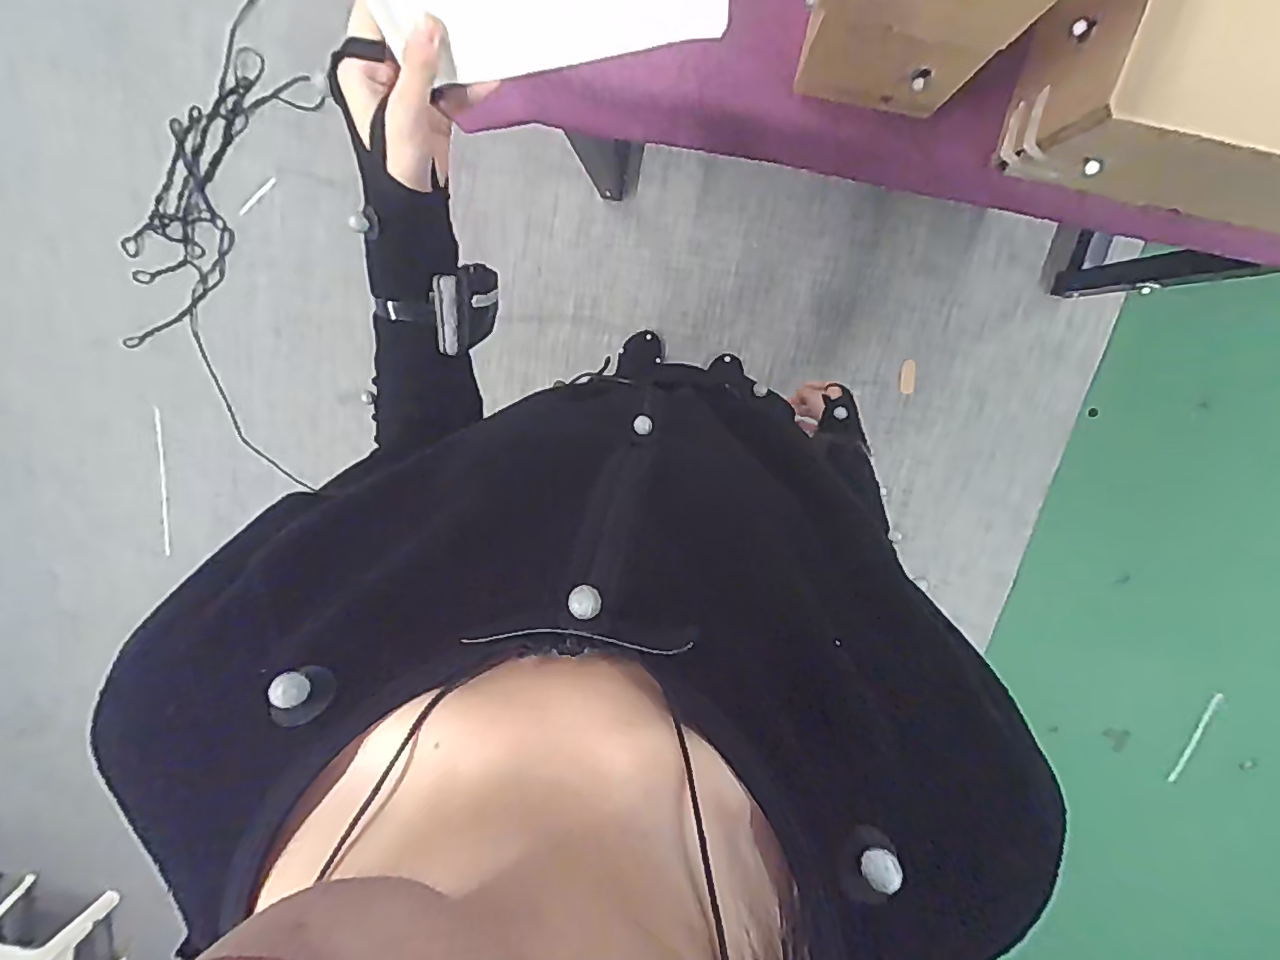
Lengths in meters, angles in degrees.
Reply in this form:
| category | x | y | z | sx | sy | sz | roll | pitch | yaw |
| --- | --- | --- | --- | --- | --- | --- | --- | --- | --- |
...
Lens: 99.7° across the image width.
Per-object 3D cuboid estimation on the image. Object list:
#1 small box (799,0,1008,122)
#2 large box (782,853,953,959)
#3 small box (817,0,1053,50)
| category | x | y | z | sx | sy | sz | roll | pitch | yaw |
| --- | --- | --- | --- | --- | --- | --- | --- | --- | --- |
| small box | 0.273 | -0.501 | 0.547 | 0.168 | 0.176 | 0.179 | 13 | 103 | 1 |
| large box | 0.663 | 1.395 | 1.644 | 0.408 | 0.320 | 0.320 | -3 | 104 | 4 |
| small box | 0.251 | -0.456 | 0.390 | 0.179 | 0.176 | 0.168 | 13 | 103 | 1 |
